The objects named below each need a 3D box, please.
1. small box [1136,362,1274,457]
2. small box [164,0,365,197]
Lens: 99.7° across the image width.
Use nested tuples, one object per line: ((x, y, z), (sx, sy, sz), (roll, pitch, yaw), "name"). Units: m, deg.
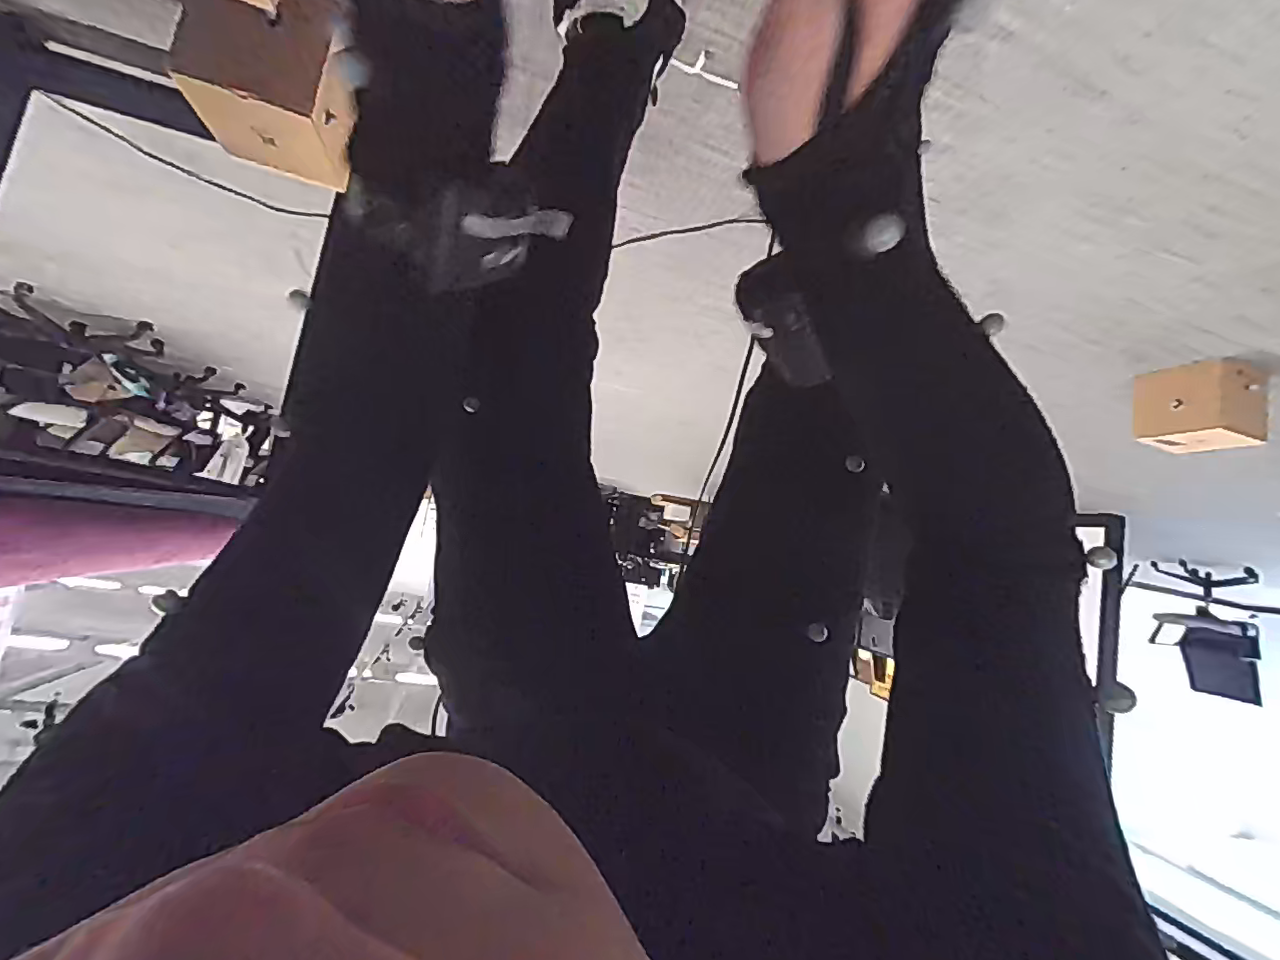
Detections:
((1.337, -0.162, 1.281), (0.168, 0.176, 0.179), (11, 172, -14), "small box")
((-0.513, -0.552, 0.770), (0.168, 0.176, 0.179), (11, 172, -13), "small box")
